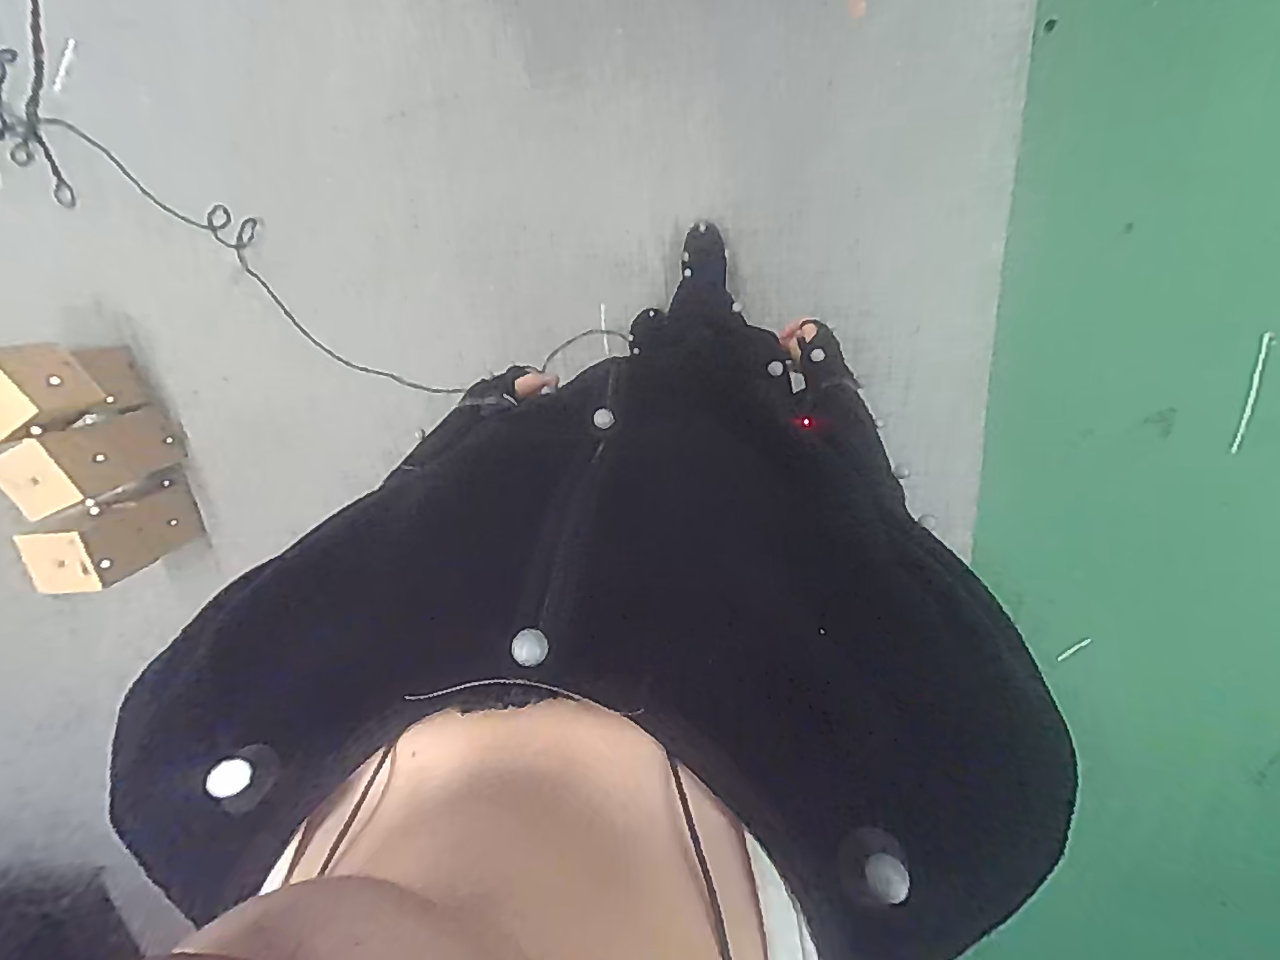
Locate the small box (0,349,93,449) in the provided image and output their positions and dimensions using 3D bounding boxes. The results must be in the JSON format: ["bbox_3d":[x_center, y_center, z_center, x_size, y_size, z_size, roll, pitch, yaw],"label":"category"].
[{"bbox_3d":[-1.461,-0.192,1.267,0.179,0.176,0.168,-28,105,12],"label":"small box"}]

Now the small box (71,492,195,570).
[{"bbox_3d":[-1.441,0.139,1.551,0.168,0.176,0.179,-4,109,4],"label":"small box"}]

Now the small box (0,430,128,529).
[{"bbox_3d":[-1.430,-0.008,1.330,0.179,0.176,0.168,-21,106,9],"label":"small box"}]
